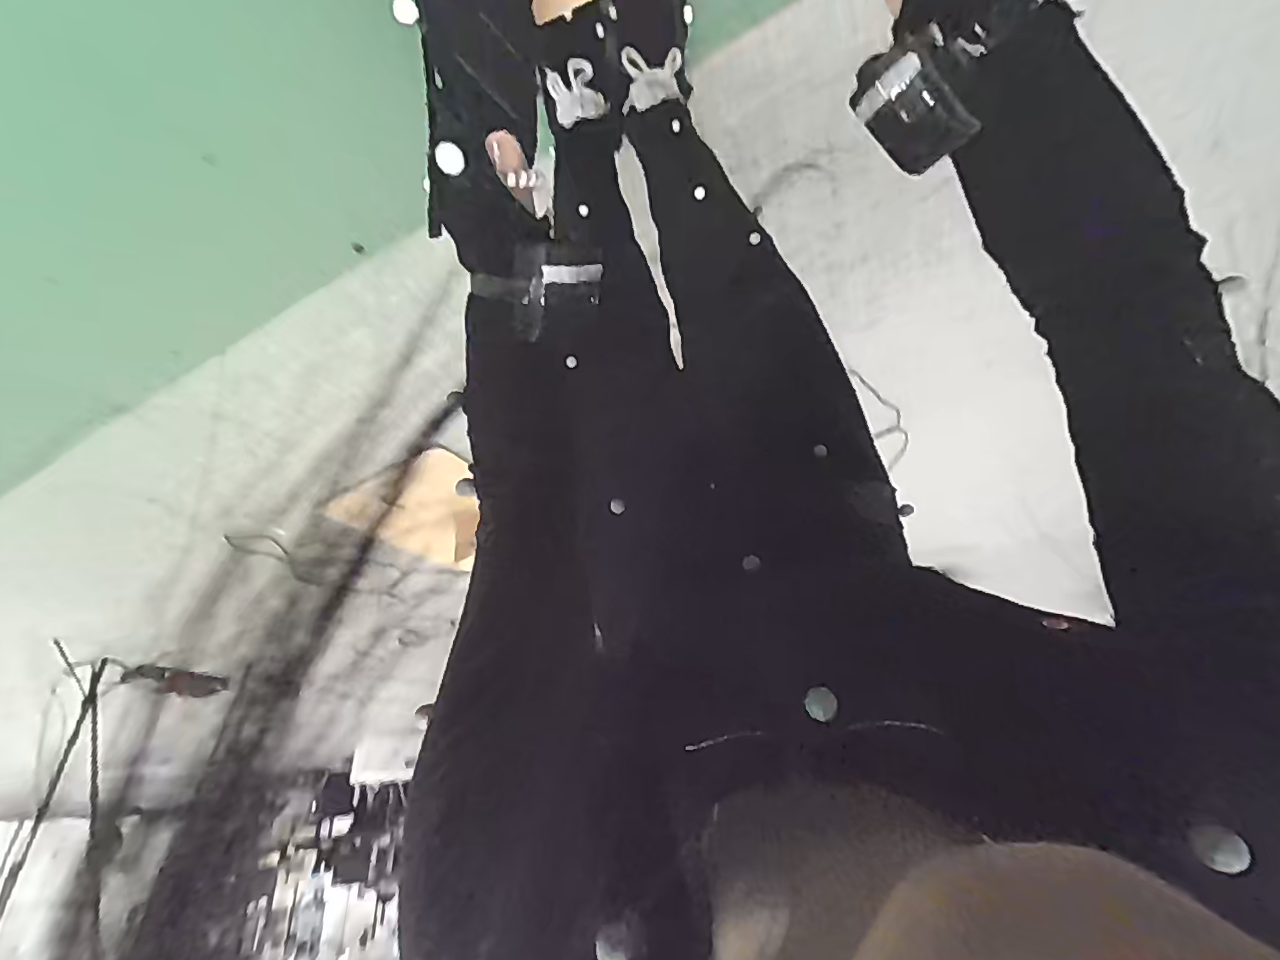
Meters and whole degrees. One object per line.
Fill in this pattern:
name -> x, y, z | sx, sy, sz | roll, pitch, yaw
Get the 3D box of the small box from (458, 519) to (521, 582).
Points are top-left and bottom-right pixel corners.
small box -> -0.579, 0.269, 2.079 | 0.179, 0.176, 0.168 | -25, 143, 24
